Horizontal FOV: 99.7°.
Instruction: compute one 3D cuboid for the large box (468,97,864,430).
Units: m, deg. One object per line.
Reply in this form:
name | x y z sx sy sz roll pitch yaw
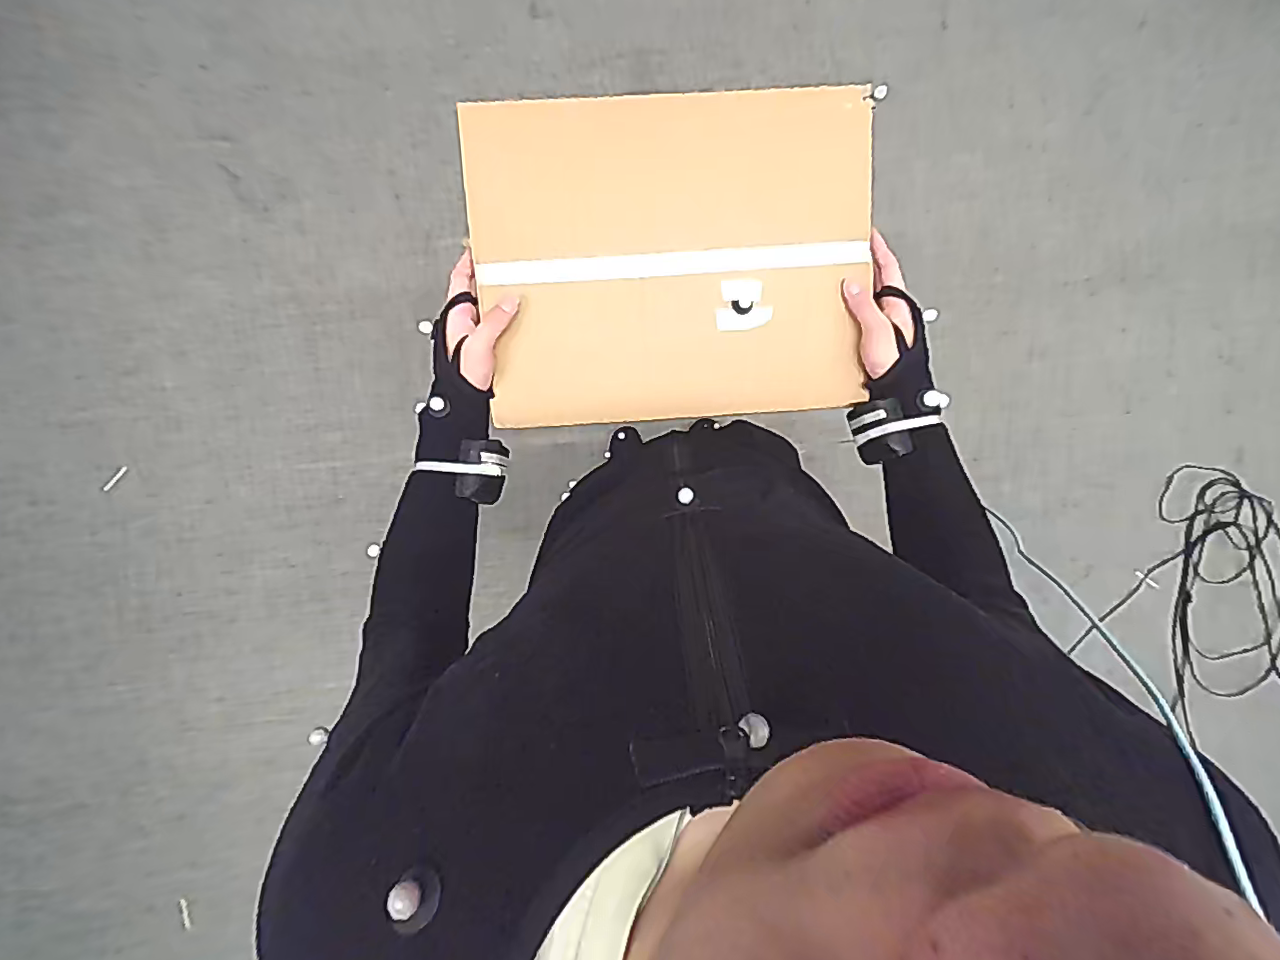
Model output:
large box | 0.028 -0.242 0.710 0.408 0.320 0.320 -4 99 -3
